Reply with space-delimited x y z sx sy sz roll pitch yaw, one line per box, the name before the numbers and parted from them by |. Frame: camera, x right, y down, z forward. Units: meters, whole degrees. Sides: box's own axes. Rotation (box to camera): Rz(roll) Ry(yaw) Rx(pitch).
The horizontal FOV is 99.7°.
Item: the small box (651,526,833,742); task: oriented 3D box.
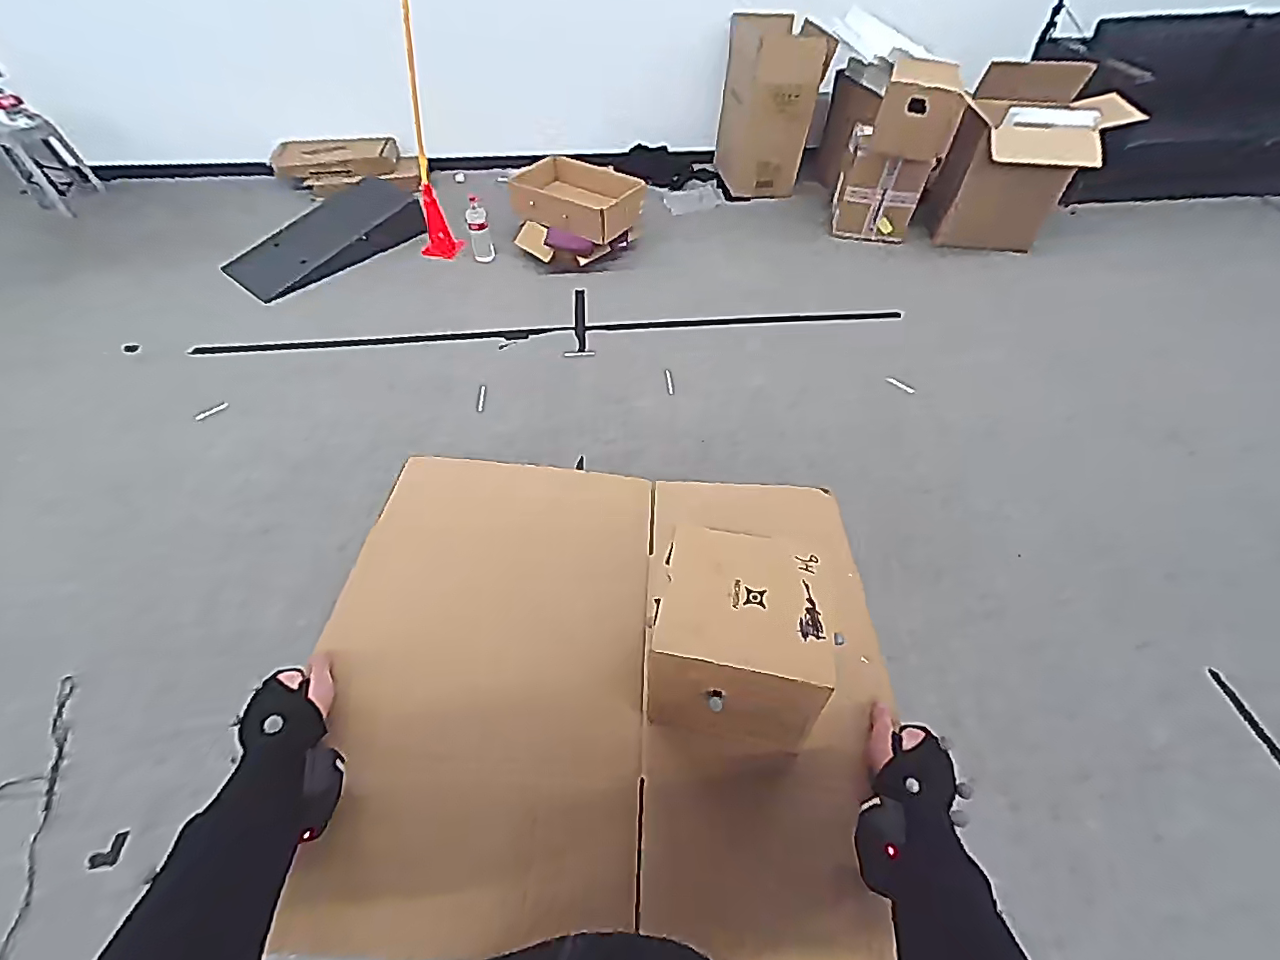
small box | 0.113 0.178 0.622 0.179 0.176 0.168 8 46 9
